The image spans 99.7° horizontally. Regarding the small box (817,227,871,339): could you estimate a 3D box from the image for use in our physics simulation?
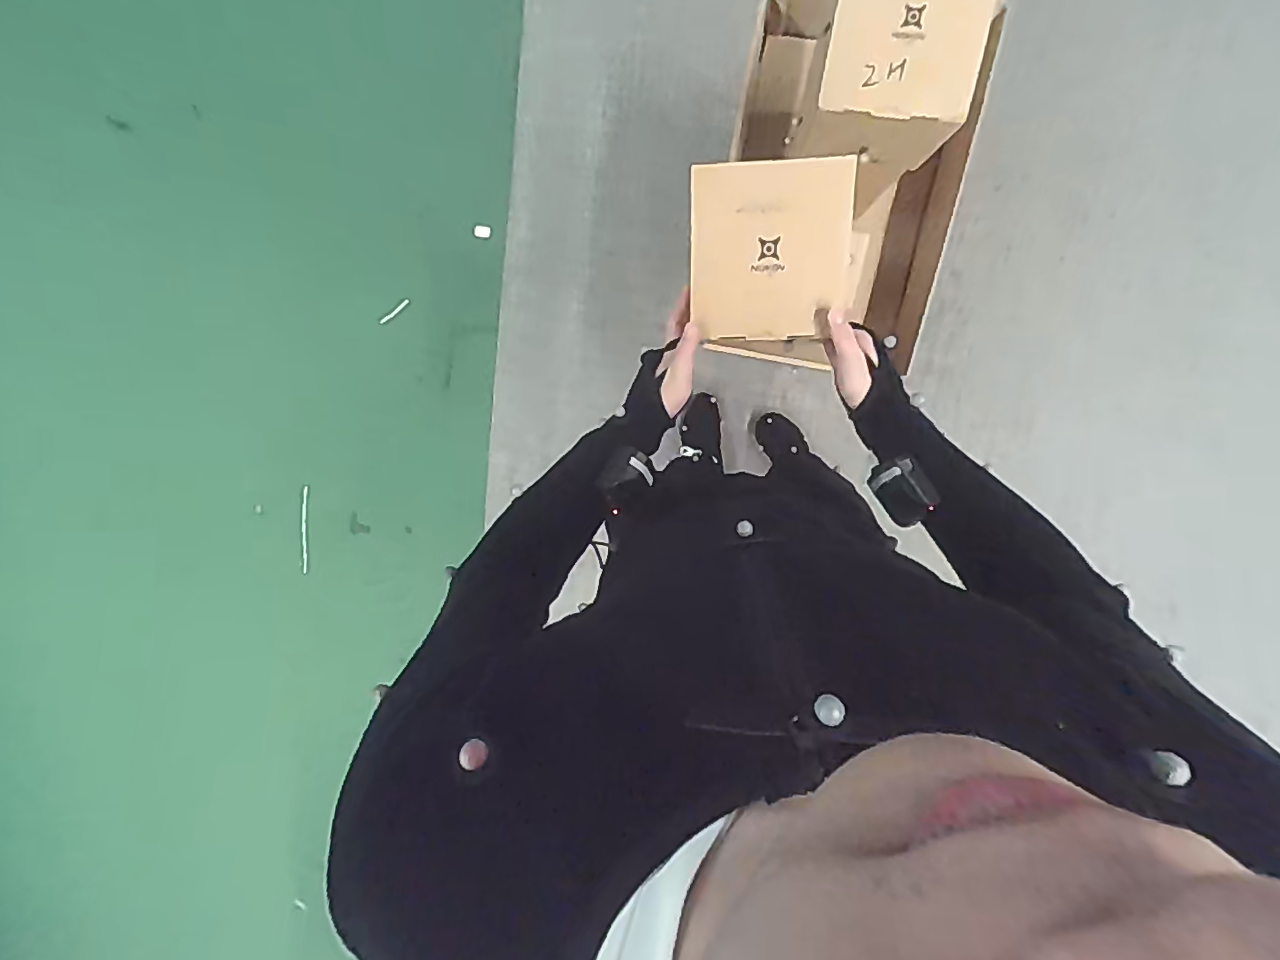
[{"bbox_3d":[0.312,-0.371,1.021,0.168,0.176,0.179,12,101,6],"label":"small box"}]

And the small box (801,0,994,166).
[{"bbox_3d":[0.303,-0.515,0.662,0.168,0.176,0.179,10,105,7],"label":"small box"}]

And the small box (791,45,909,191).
[{"bbox_3d":[0.331,-0.565,0.818,0.168,0.176,0.179,11,105,6],"label":"small box"}]

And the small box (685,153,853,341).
[{"bbox_3d":[0.139,-0.257,0.635,0.168,0.176,0.179,0,104,7],"label":"small box"}]
